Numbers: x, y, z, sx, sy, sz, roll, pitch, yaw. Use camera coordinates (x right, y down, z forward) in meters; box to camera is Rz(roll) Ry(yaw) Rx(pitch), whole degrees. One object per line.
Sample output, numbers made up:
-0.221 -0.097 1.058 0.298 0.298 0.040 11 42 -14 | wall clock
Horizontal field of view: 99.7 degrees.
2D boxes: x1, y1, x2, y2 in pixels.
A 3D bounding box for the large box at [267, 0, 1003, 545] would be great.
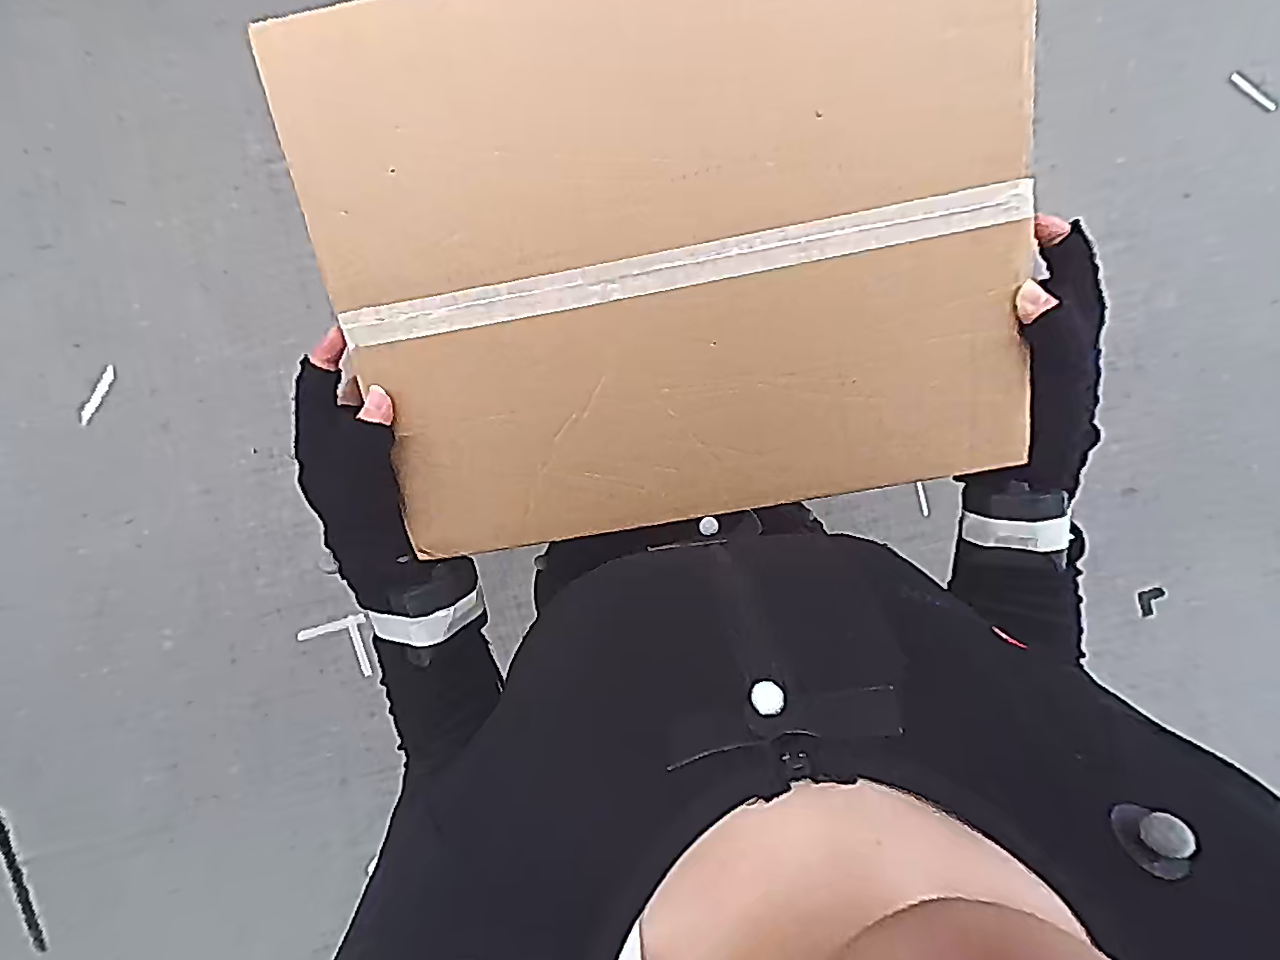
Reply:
0.017 -0.175 0.468 0.408 0.320 0.320 -10 106 3 | large box
